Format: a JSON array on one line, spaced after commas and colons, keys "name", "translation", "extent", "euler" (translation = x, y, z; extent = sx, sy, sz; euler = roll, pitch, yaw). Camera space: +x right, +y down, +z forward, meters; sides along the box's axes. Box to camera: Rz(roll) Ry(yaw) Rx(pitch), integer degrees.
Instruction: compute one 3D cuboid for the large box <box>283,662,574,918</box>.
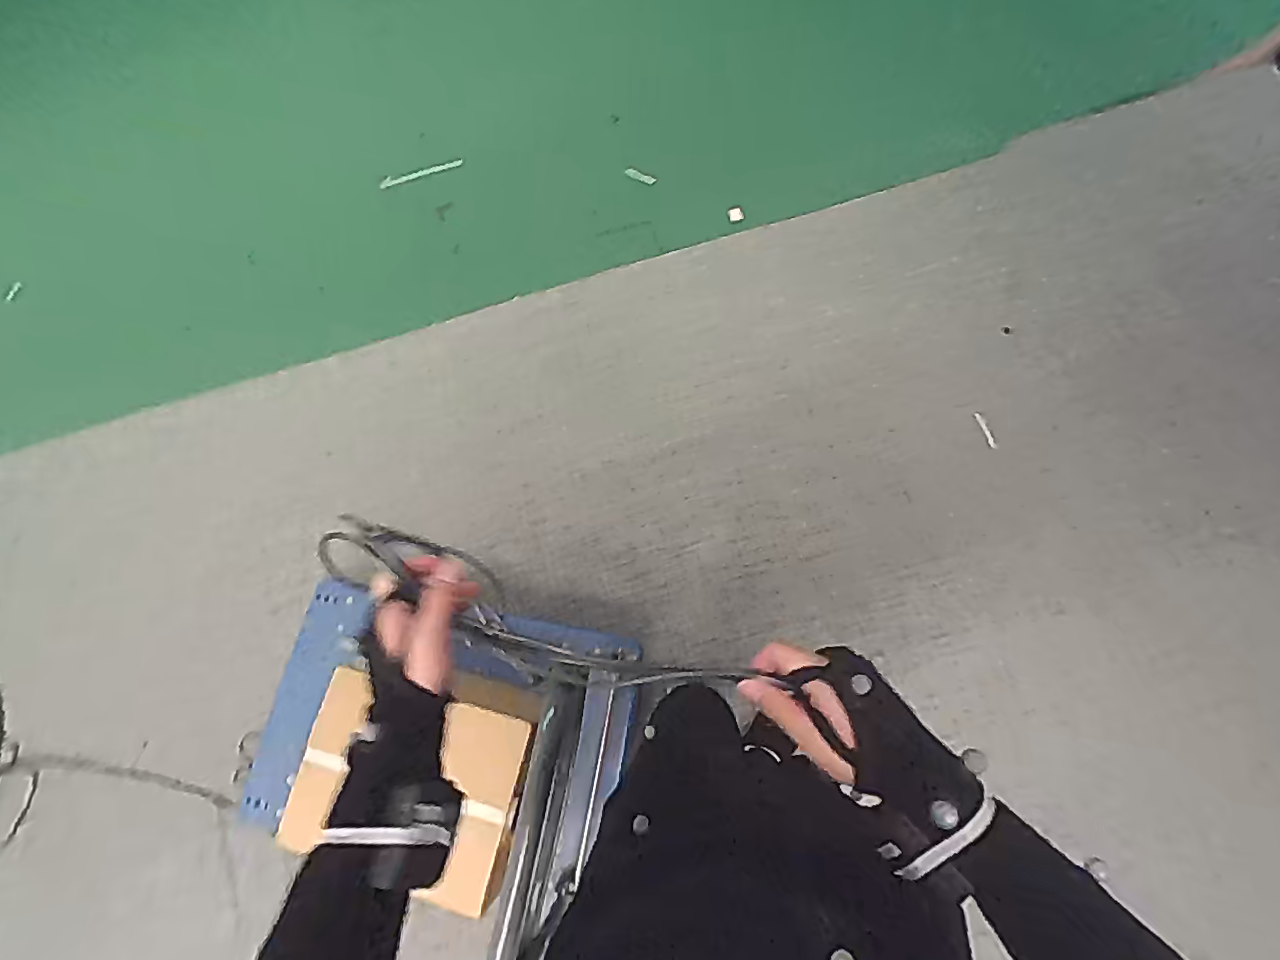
[{"name": "large box", "translation": [-0.388, 0.579, 1.095], "extent": [0.408, 0.320, 0.320], "euler": [11, 76, 10]}]
